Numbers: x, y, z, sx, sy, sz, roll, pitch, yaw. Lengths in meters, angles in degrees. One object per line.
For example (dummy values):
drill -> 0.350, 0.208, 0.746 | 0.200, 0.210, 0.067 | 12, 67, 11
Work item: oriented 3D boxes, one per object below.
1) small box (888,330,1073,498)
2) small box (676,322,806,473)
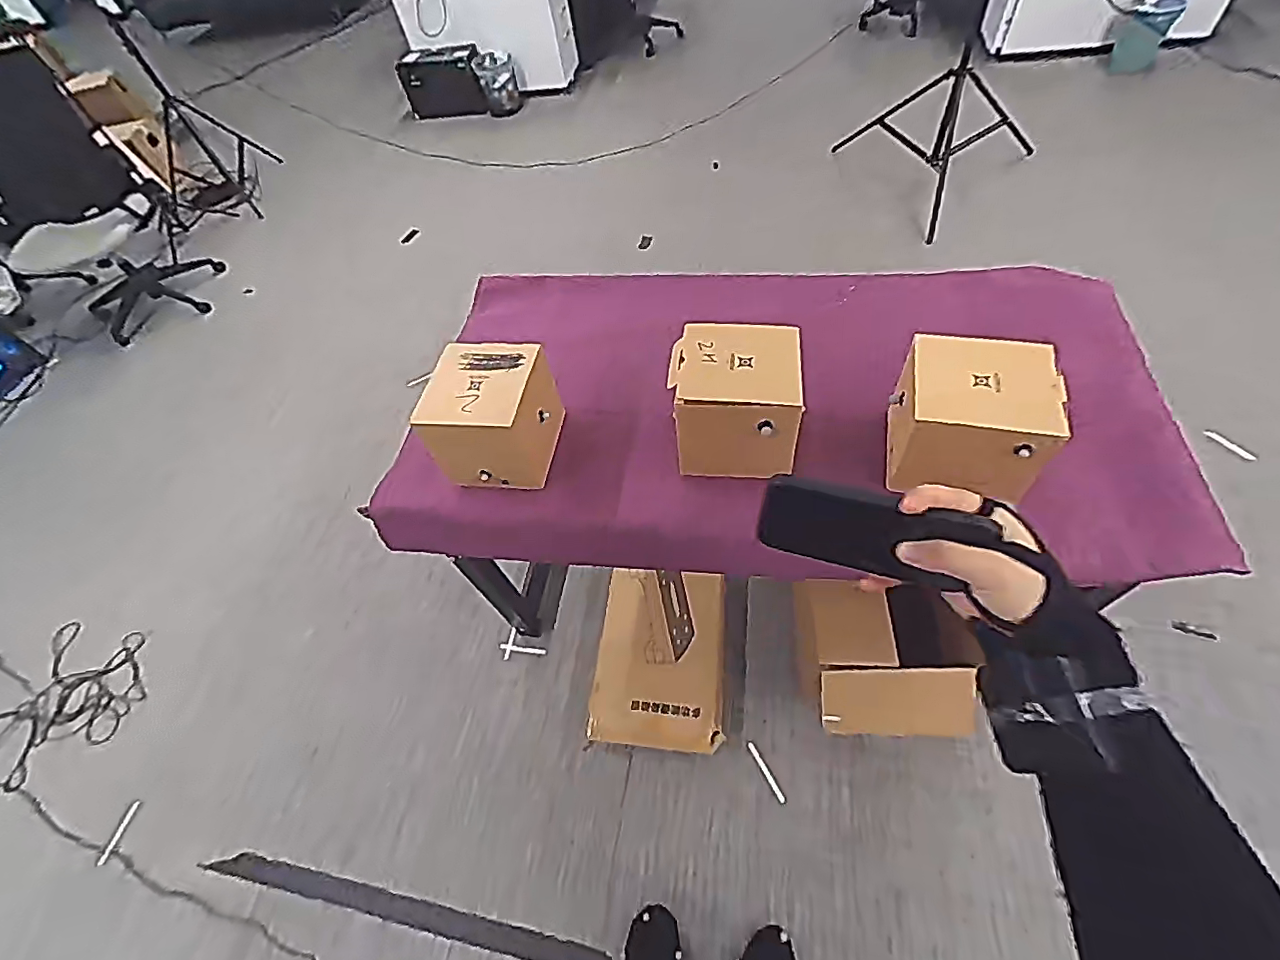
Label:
small box -> 0.464, -0.091, 0.771 | 0.179, 0.176, 0.168 | 9, 57, 14
small box -> 0.155, -0.124, 0.840 | 0.179, 0.176, 0.168 | 2, 54, 10
